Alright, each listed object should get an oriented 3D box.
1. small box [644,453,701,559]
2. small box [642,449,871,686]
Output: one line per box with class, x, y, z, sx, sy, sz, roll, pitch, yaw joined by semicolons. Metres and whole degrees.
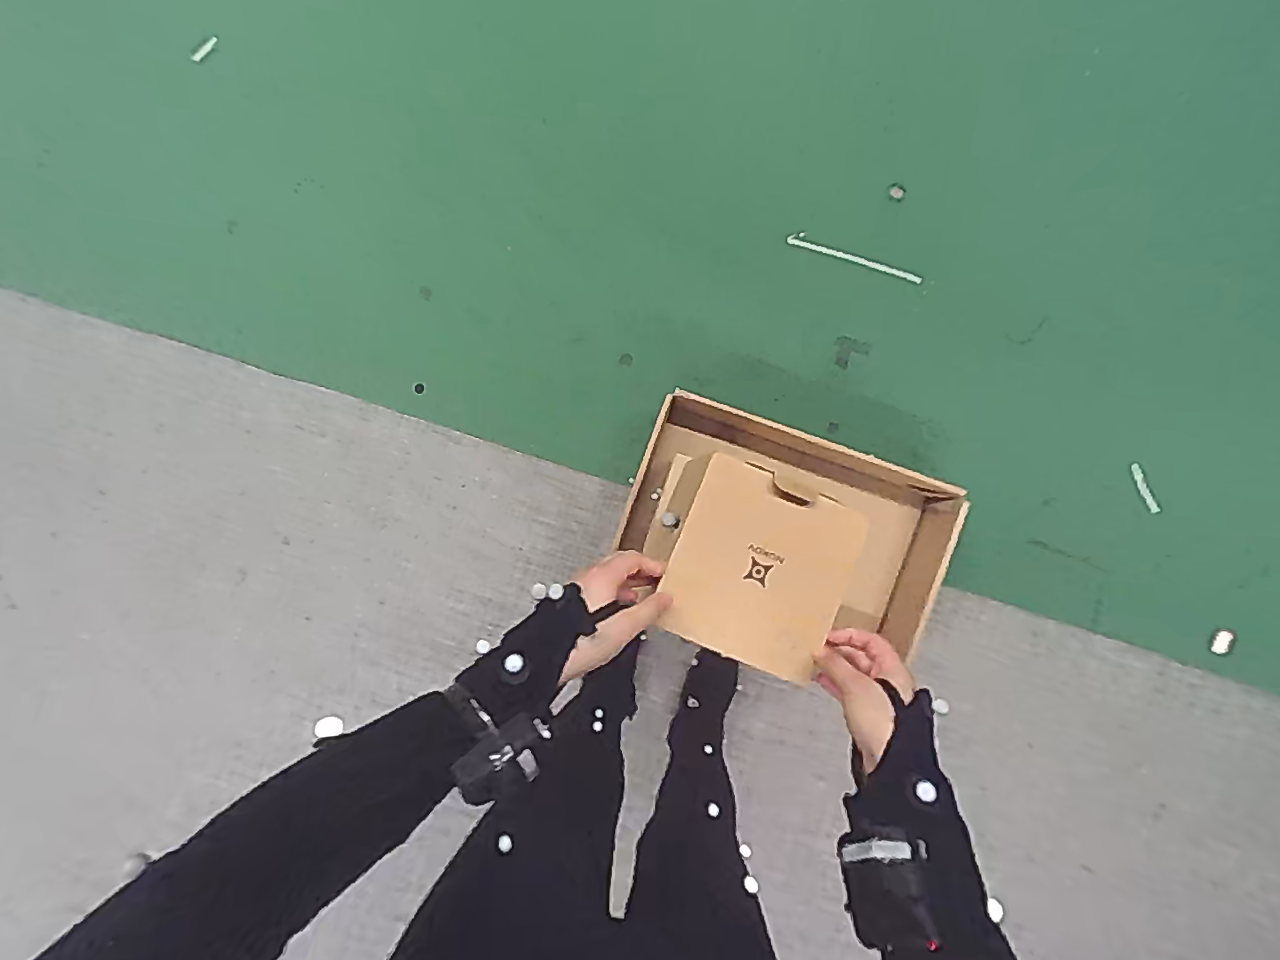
small box;0.112;0.066;0.928;0.168;0.176;0.179;19;89;1
small box;0.108;0.086;0.583;0.168;0.176;0.179;24;84;-2
